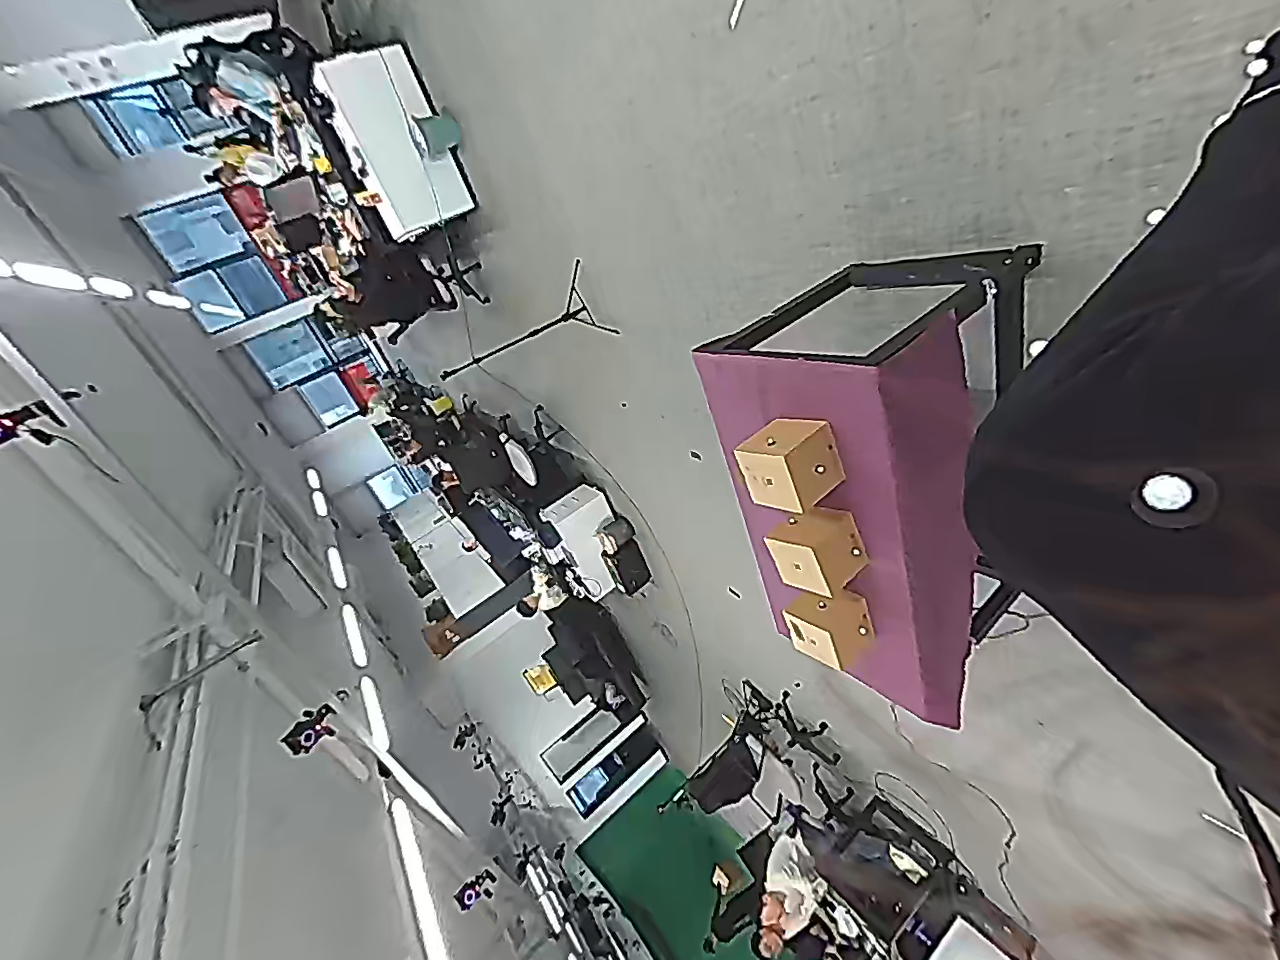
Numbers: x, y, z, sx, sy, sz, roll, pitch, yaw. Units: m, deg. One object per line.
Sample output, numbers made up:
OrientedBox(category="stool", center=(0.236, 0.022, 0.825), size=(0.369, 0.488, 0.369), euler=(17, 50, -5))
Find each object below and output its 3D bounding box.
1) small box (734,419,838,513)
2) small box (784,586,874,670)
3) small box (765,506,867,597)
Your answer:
OrientedBox(category="small box", center=(0.375, -0.043, 1.366), size=(0.179, 0.176, 0.168), euler=(16, 136, 59))
OrientedBox(category="small box", center=(0.573, 0.431, 1.640), size=(0.179, 0.176, 0.168), euler=(18, 138, 56))
OrientedBox(category="small box", center=(0.482, 0.186, 1.480), size=(0.179, 0.176, 0.168), euler=(11, 132, 61))
